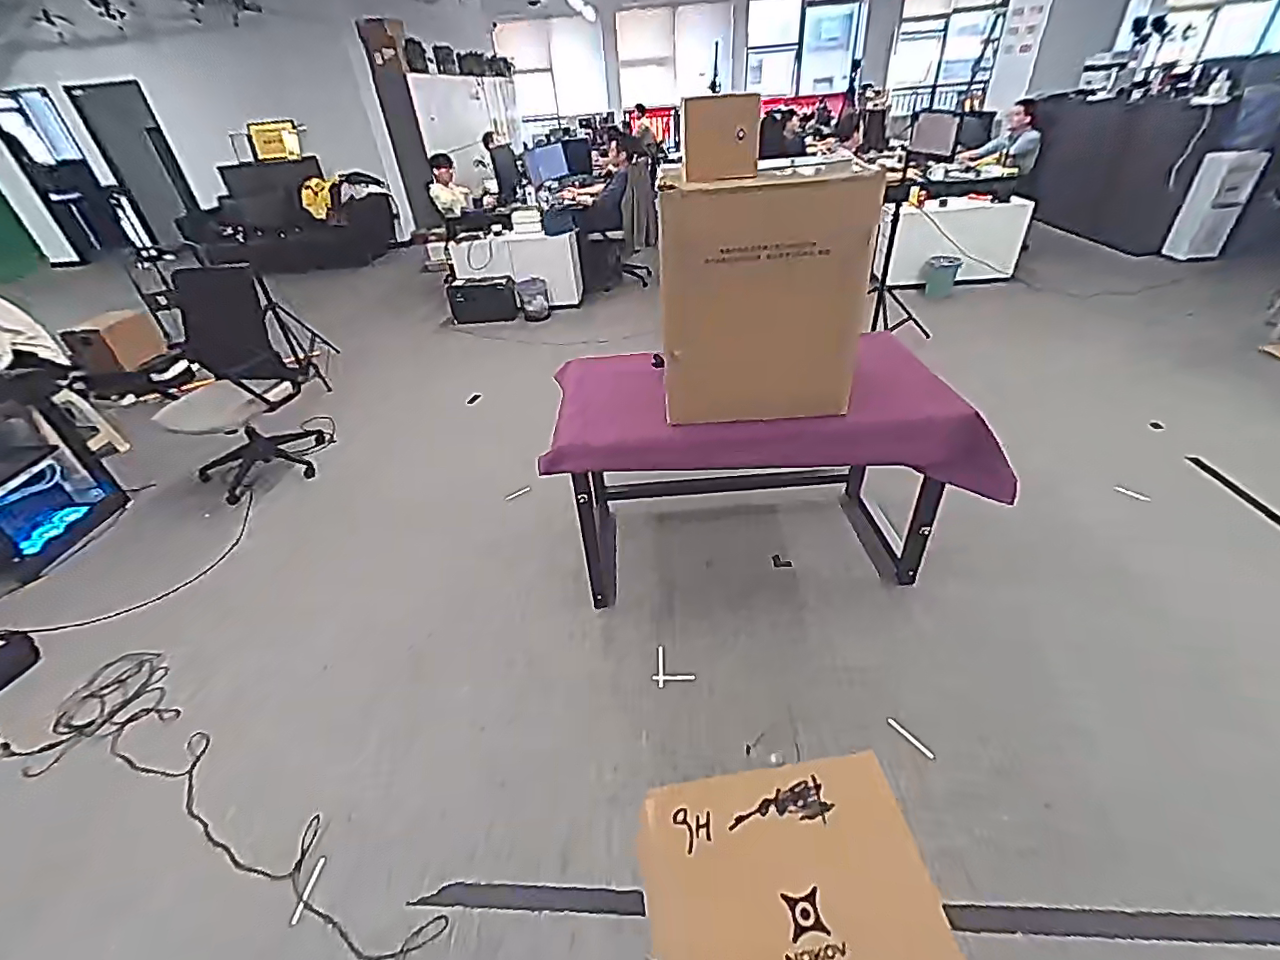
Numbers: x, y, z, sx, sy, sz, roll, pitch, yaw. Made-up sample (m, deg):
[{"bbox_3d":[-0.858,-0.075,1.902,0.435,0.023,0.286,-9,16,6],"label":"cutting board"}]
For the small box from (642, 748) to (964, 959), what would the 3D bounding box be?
[{"bbox_3d":[0.094,0.308,0.366,0.168,0.176,0.179,-5,48,-7],"label":"small box"}]

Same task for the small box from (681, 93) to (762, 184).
[{"bbox_3d":[0.191,-0.832,1.316,0.179,0.176,0.168,-4,35,3],"label":"small box"}]
